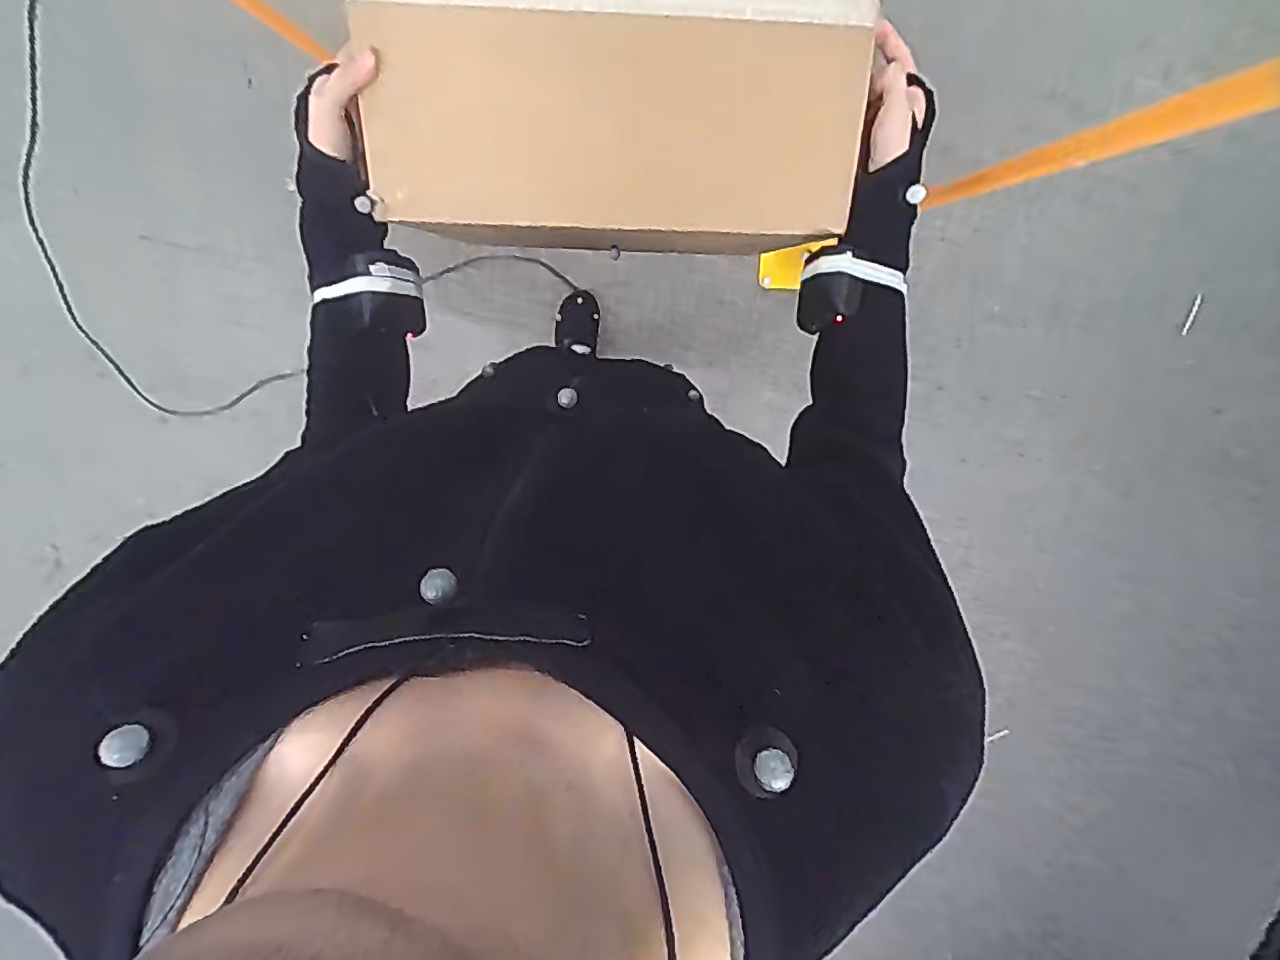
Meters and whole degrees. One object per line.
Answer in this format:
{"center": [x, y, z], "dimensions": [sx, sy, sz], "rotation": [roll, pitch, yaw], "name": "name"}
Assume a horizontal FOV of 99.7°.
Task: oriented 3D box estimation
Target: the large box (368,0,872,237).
{"center": [-0.016, -0.428, 0.561], "dimensions": [0.408, 0.320, 0.320], "rotation": [1, 110, -2], "name": "large box"}
